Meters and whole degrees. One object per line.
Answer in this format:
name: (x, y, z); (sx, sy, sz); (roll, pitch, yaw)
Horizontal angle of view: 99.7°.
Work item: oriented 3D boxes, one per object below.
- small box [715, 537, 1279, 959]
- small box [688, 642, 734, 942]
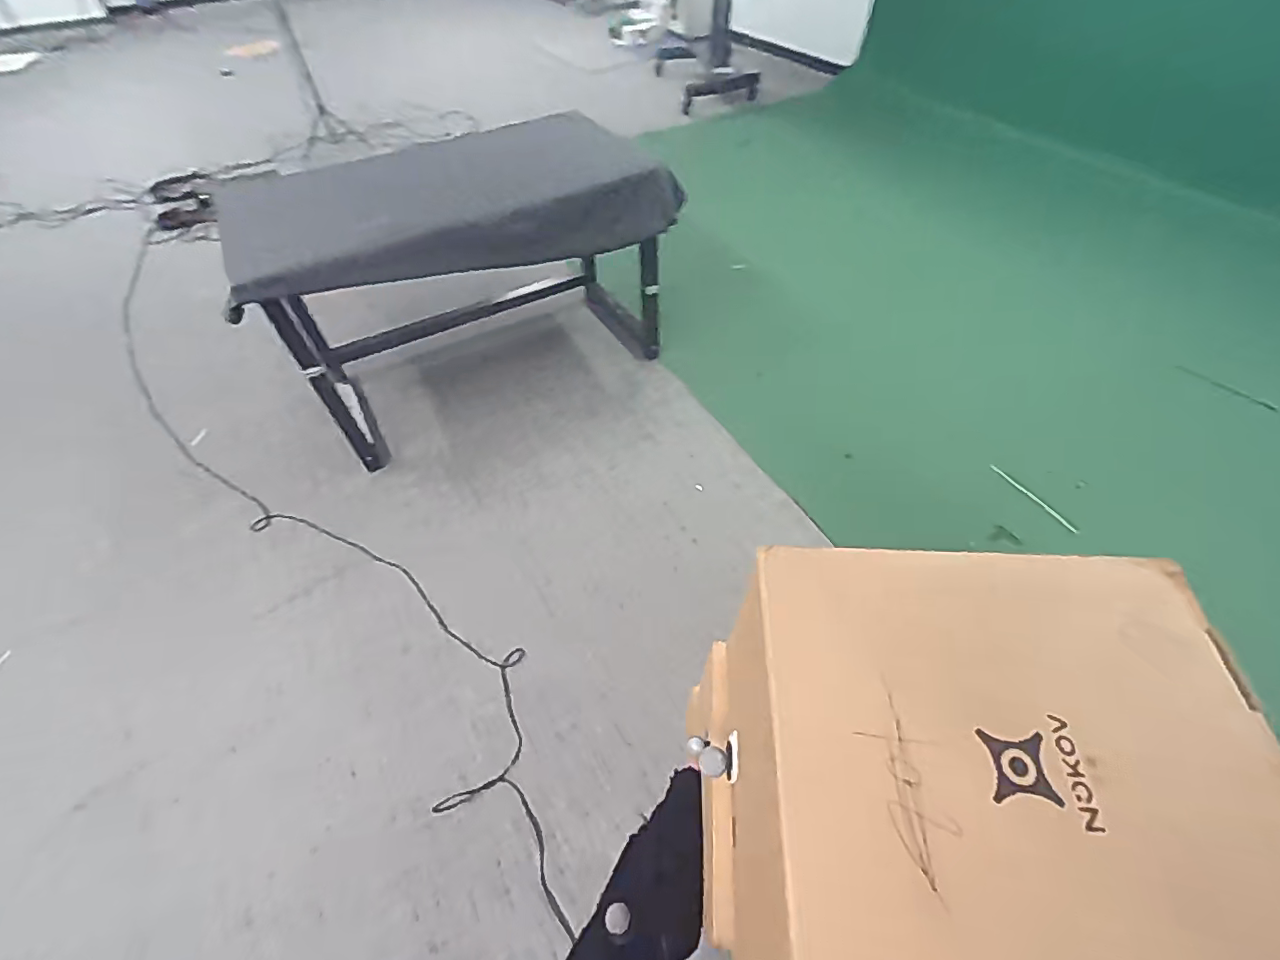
small box: (0.133, 0.139, 0.262); (0.179, 0.176, 0.168); (-1, 55, 3)
small box: (0.129, 0.226, 0.403); (0.179, 0.176, 0.168); (-1, 57, 2)
